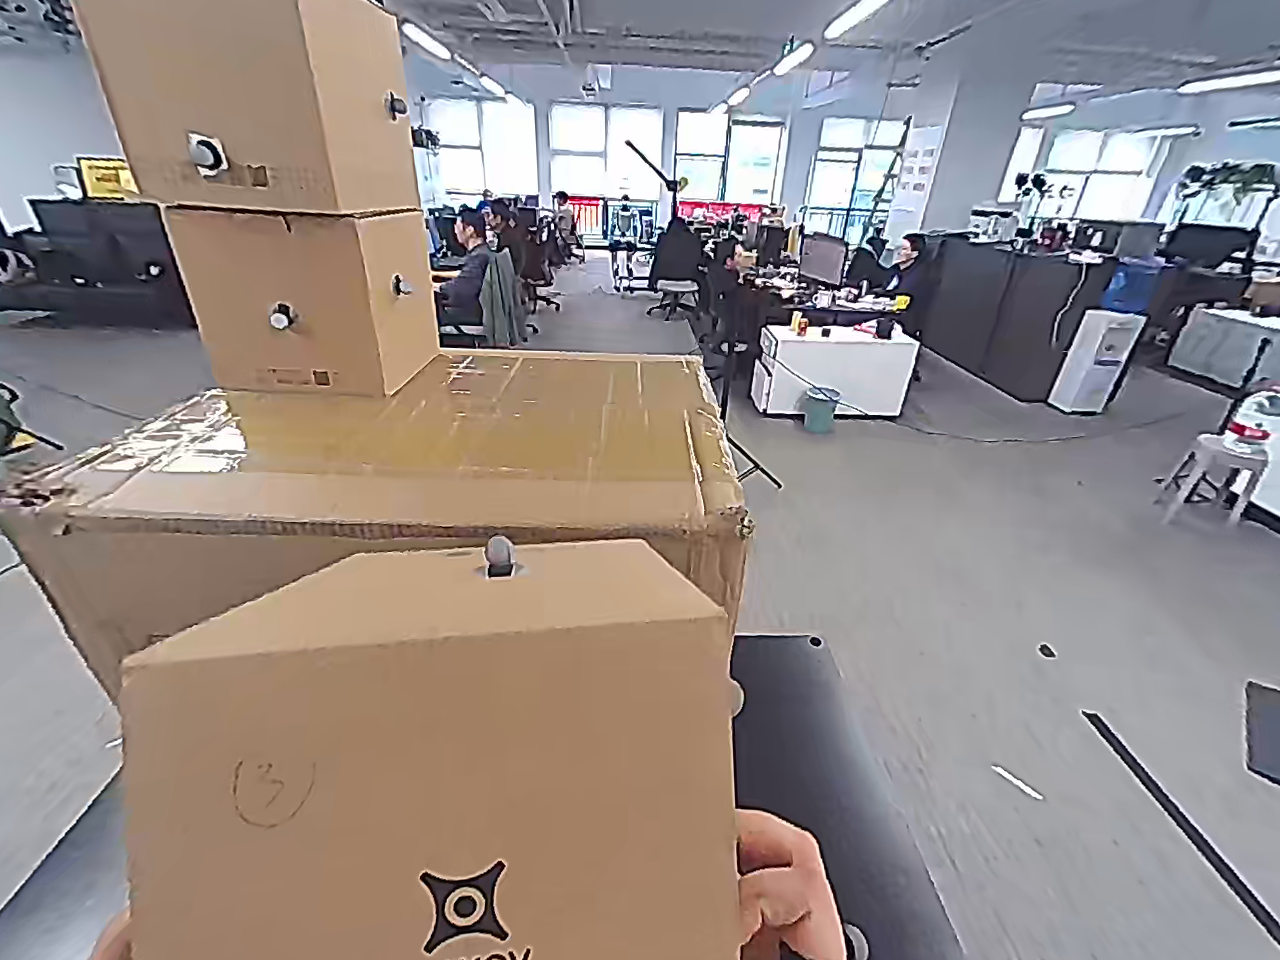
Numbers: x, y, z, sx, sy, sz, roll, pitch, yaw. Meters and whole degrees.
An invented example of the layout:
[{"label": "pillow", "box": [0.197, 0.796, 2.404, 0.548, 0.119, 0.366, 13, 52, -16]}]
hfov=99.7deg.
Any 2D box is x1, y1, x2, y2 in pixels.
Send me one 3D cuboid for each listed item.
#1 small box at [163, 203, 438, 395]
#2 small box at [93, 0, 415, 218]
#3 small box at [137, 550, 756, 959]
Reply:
[{"label": "small box", "box": [-0.325, -0.195, 0.567, 0.168, 0.176, 0.179, 2, 29, -3]}, {"label": "small box", "box": [-0.314, -0.332, 0.475, 0.168, 0.176, 0.179, 2, 29, 0]}, {"label": "small box", "box": [-0.059, 0.125, 0.231, 0.168, 0.179, 0.176, -2, 0, -8]}]
